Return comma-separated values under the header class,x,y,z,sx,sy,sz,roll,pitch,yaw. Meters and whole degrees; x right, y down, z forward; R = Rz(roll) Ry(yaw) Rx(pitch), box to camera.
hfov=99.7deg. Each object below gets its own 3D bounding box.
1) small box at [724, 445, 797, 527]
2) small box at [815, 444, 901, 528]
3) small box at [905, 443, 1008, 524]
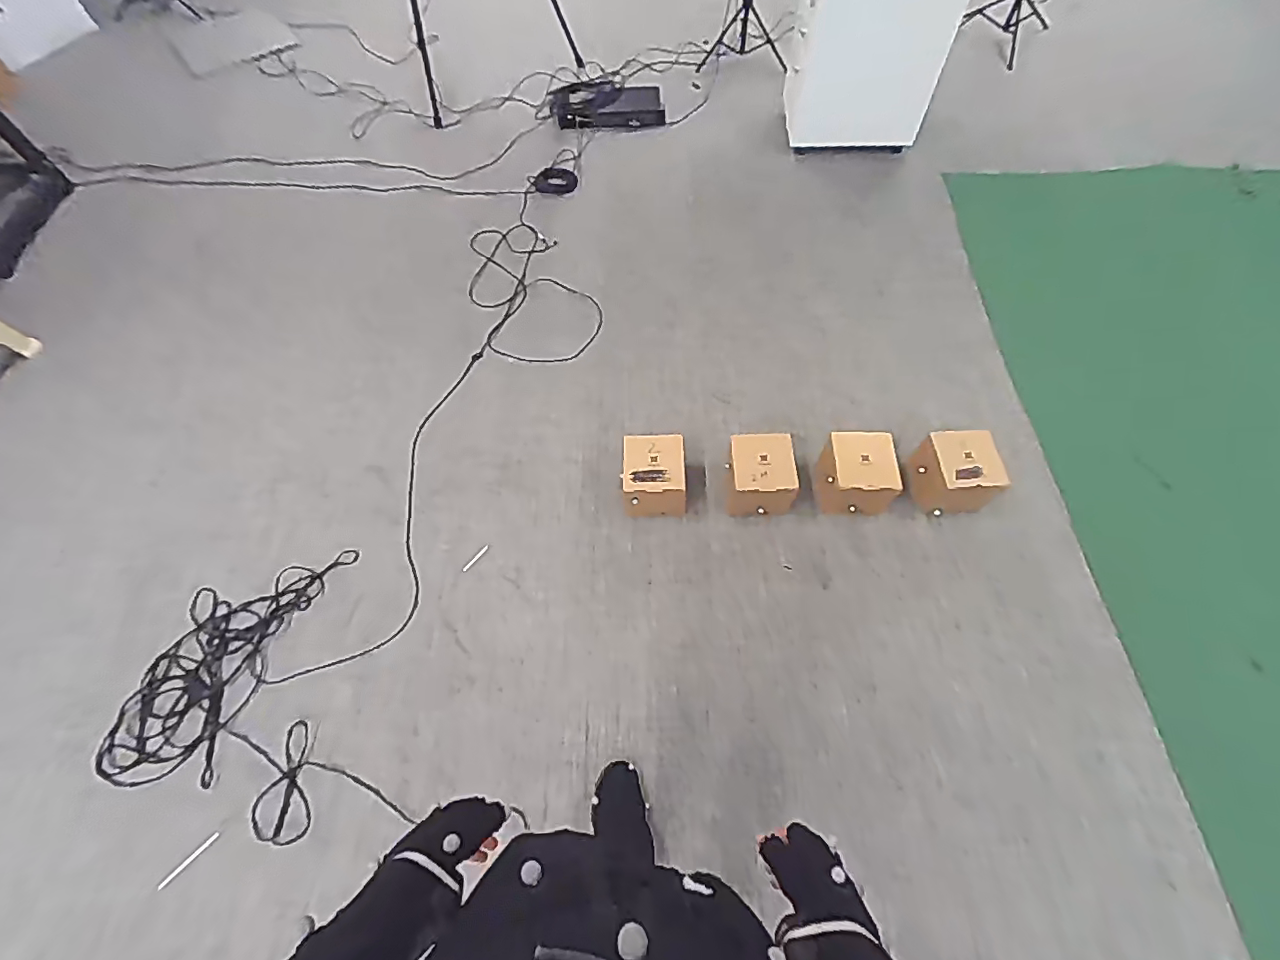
class,x,y,z,sx,sy,sz,roll,pitch,yaw
small box,0.329,0.019,1.512,0.168,0.176,0.179,-1,61,2
small box,0.597,0.018,1.508,0.168,0.176,0.179,1,61,2
small box,0.866,0.016,1.500,0.168,0.176,0.179,-2,60,0
